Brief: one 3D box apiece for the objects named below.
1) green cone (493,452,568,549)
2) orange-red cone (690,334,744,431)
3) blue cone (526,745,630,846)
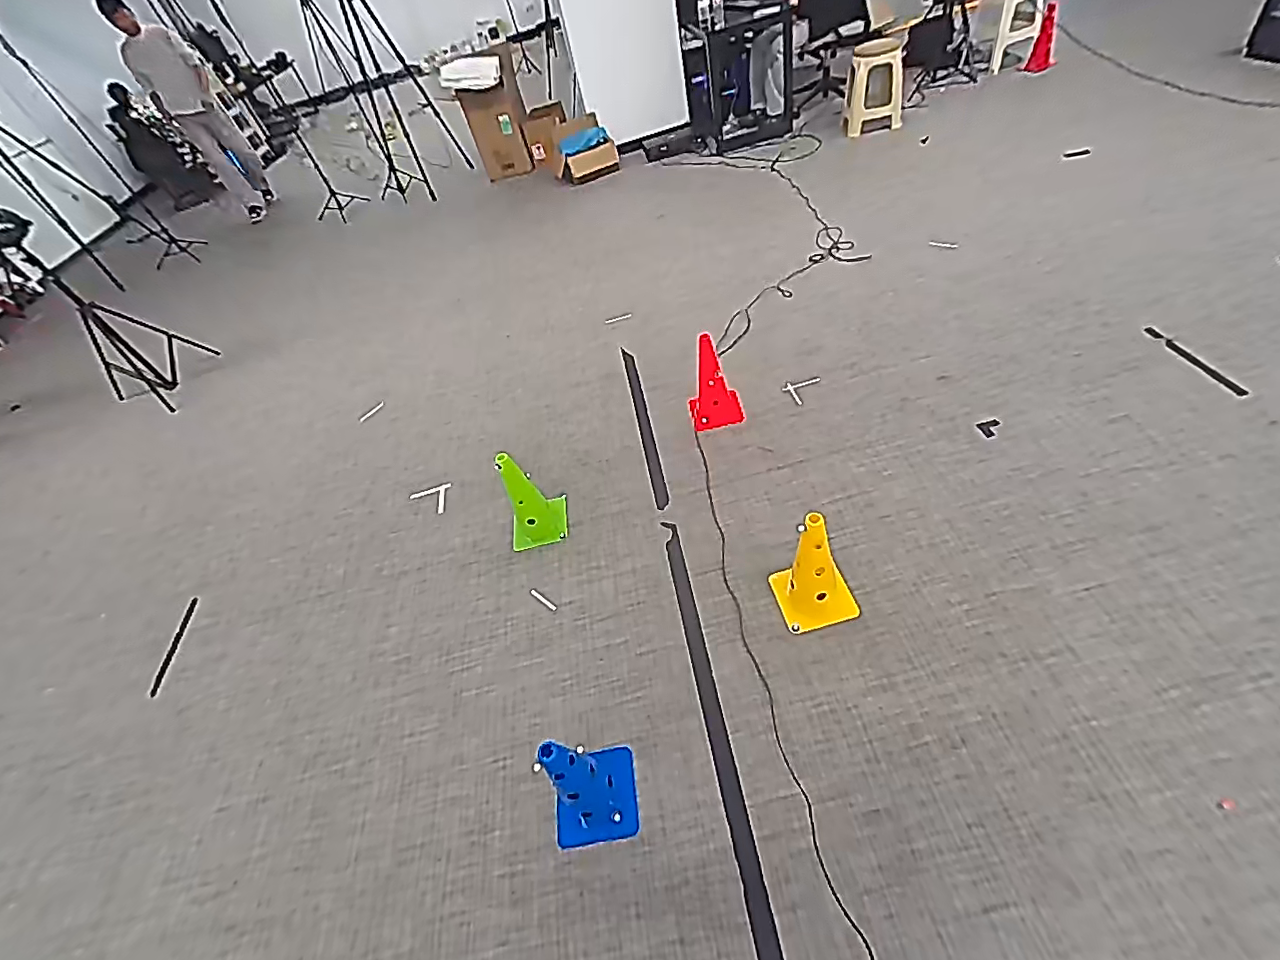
[{"bbox_3d":[-0.399,0.037,1.830,0.202,0.368,0.200,-15,46,4],"label":"green cone"},{"bbox_3d":[0.268,-0.387,2.025,0.199,0.360,0.198,-11,48,6],"label":"orange-red cone"},{"bbox_3d":[-0.156,0.662,1.202,0.192,0.380,0.193,-13,46,7],"label":"blue cone"}]
